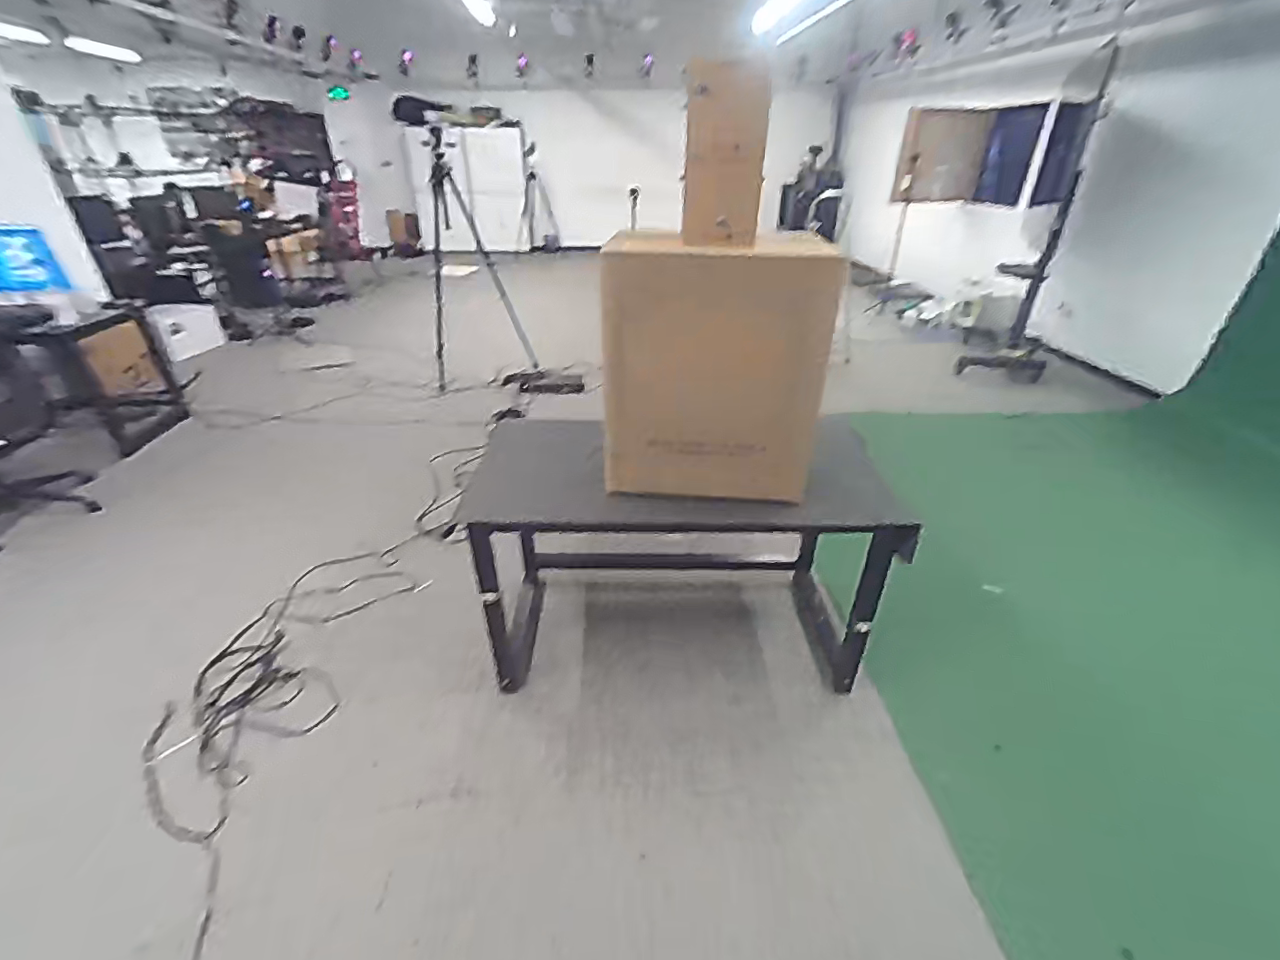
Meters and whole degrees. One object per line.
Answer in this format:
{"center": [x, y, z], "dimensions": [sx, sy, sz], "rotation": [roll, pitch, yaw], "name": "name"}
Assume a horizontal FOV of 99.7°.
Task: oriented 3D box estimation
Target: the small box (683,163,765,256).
{"center": [0.186, -0.623, 1.238], "dimensions": [0.168, 0.176, 0.179], "rotation": [4, 33, 4], "name": "small box"}
